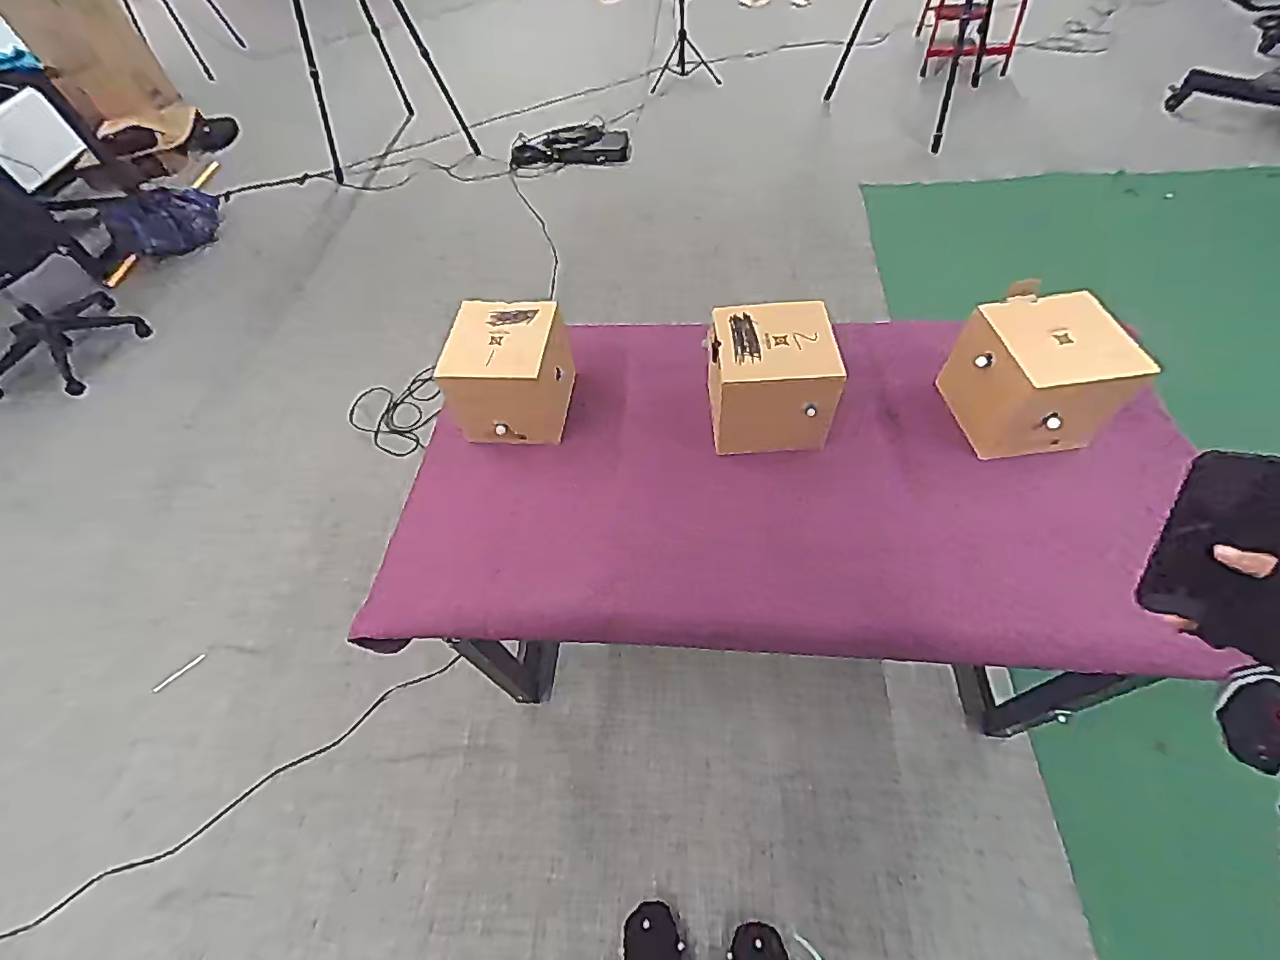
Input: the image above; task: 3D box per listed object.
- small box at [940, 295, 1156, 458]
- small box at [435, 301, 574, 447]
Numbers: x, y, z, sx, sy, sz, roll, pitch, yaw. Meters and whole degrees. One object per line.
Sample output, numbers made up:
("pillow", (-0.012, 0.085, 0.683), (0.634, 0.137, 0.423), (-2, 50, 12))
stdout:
("small box", (0.594, -0.147, 0.818), (0.168, 0.176, 0.179), (-7, 55, 1))
("small box", (-0.214, -0.178, 0.913), (0.168, 0.176, 0.179), (3, 58, 7))
